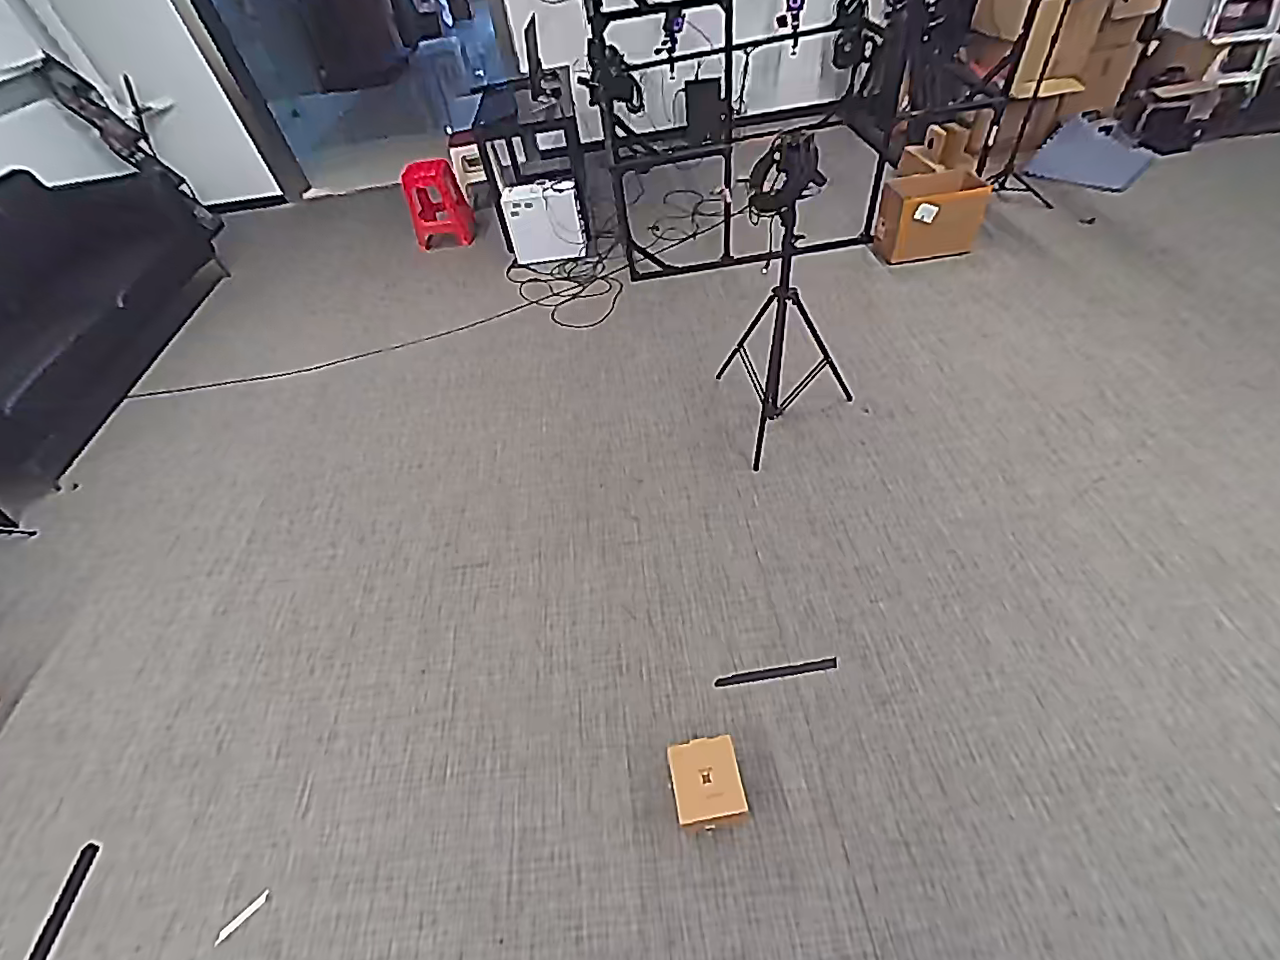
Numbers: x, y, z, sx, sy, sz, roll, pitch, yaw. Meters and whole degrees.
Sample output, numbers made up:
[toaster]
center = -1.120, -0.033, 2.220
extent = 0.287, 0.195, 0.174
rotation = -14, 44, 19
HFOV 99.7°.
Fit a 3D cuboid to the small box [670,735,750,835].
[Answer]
[small box]
center = 0.176, 0.778, 1.375
extent = 0.168, 0.176, 0.179
rotation = -11, 49, 0
